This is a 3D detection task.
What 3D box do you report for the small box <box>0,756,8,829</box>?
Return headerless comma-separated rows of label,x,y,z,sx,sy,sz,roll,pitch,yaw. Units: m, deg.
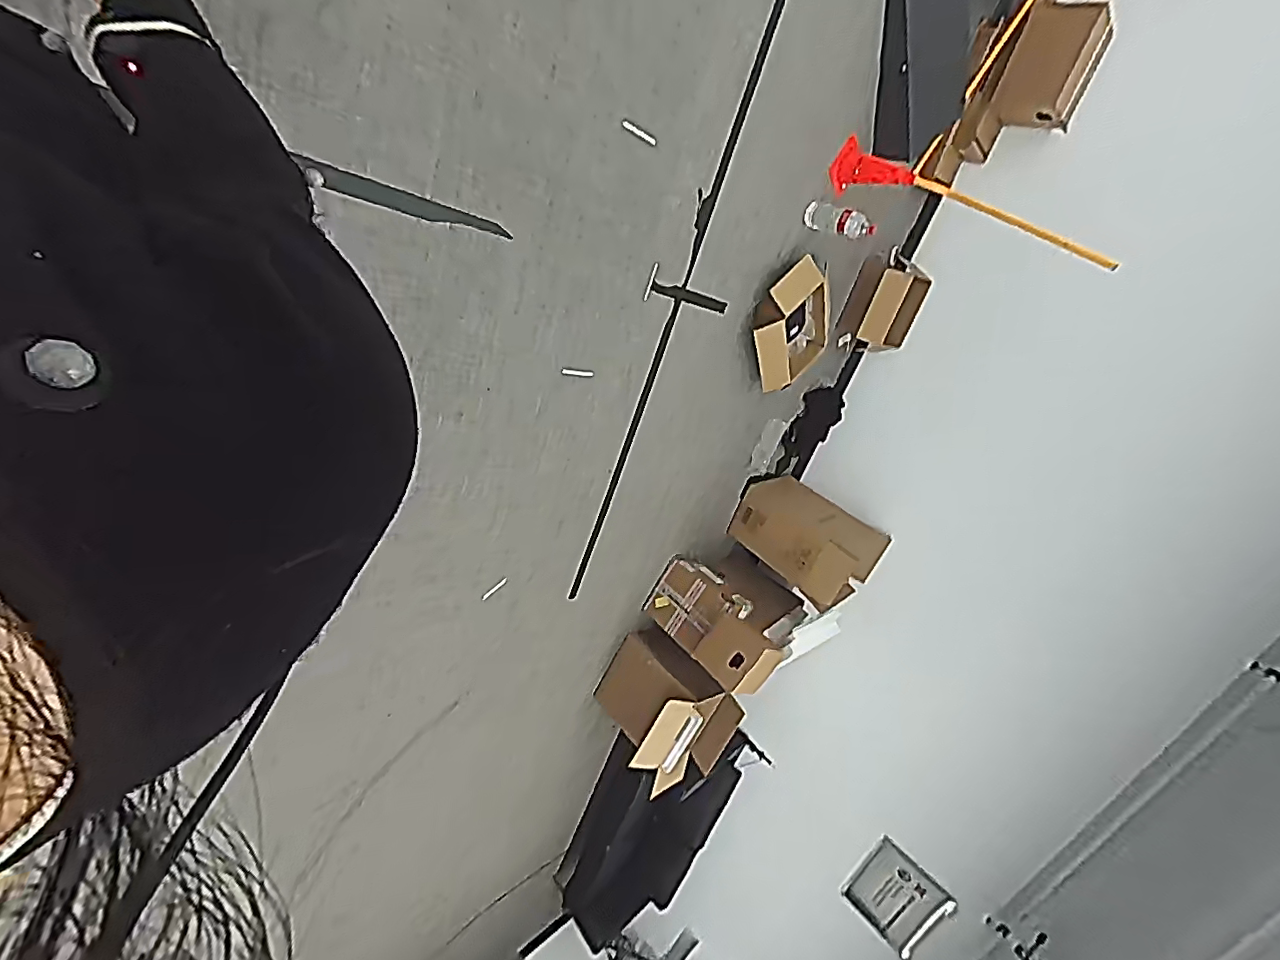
small box,-1.547,0.698,1.199,0.168,0.176,0.179,-14,130,-46
